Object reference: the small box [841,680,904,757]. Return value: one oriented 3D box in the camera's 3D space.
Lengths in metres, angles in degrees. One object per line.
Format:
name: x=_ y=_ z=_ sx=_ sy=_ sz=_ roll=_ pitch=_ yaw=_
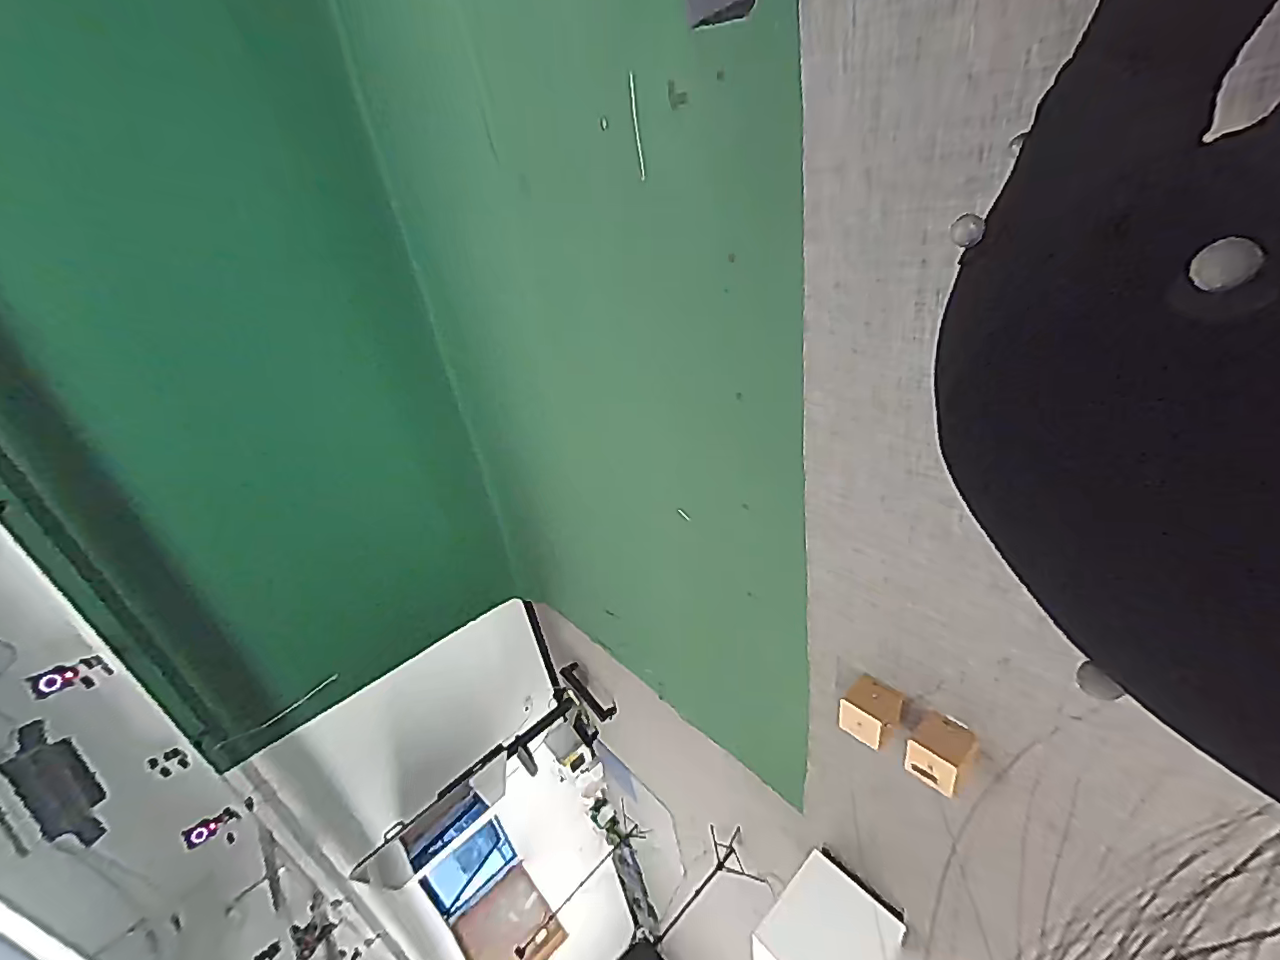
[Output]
small box: x=0.905 y=0.919 z=2.104 sx=0.168 sy=0.176 sz=0.179 roll=24 pitch=132 yaw=46
